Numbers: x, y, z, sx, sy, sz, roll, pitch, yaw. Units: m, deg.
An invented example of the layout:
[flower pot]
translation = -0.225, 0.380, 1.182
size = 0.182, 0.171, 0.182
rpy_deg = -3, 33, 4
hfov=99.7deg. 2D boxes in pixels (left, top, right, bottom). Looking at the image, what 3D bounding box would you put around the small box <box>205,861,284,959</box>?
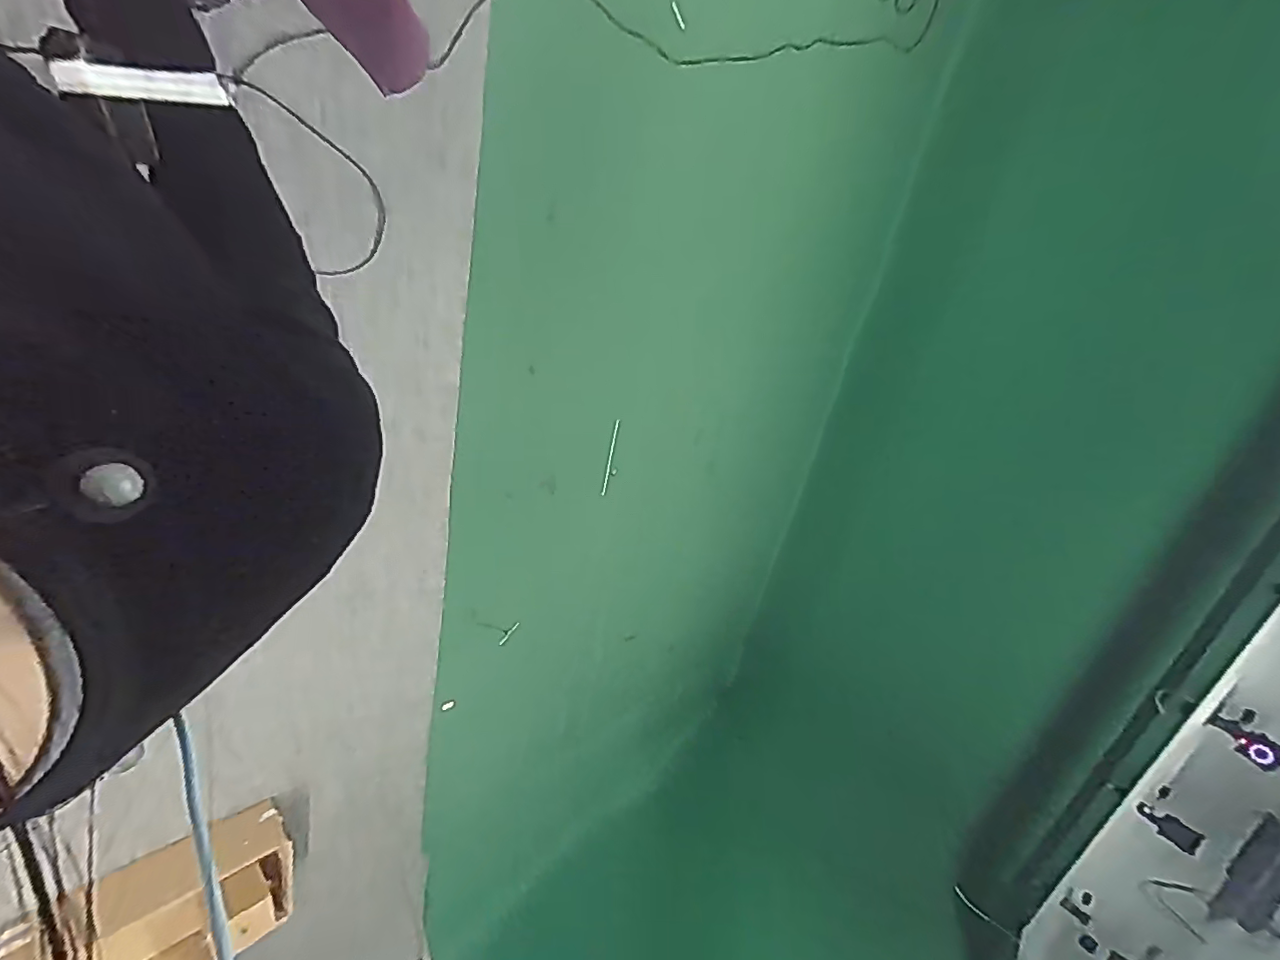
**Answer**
[small box]
translation = -1.276, 1.380, 1.742
size = 0.168, 0.176, 0.179
rpy_deg = -14, 123, -46
